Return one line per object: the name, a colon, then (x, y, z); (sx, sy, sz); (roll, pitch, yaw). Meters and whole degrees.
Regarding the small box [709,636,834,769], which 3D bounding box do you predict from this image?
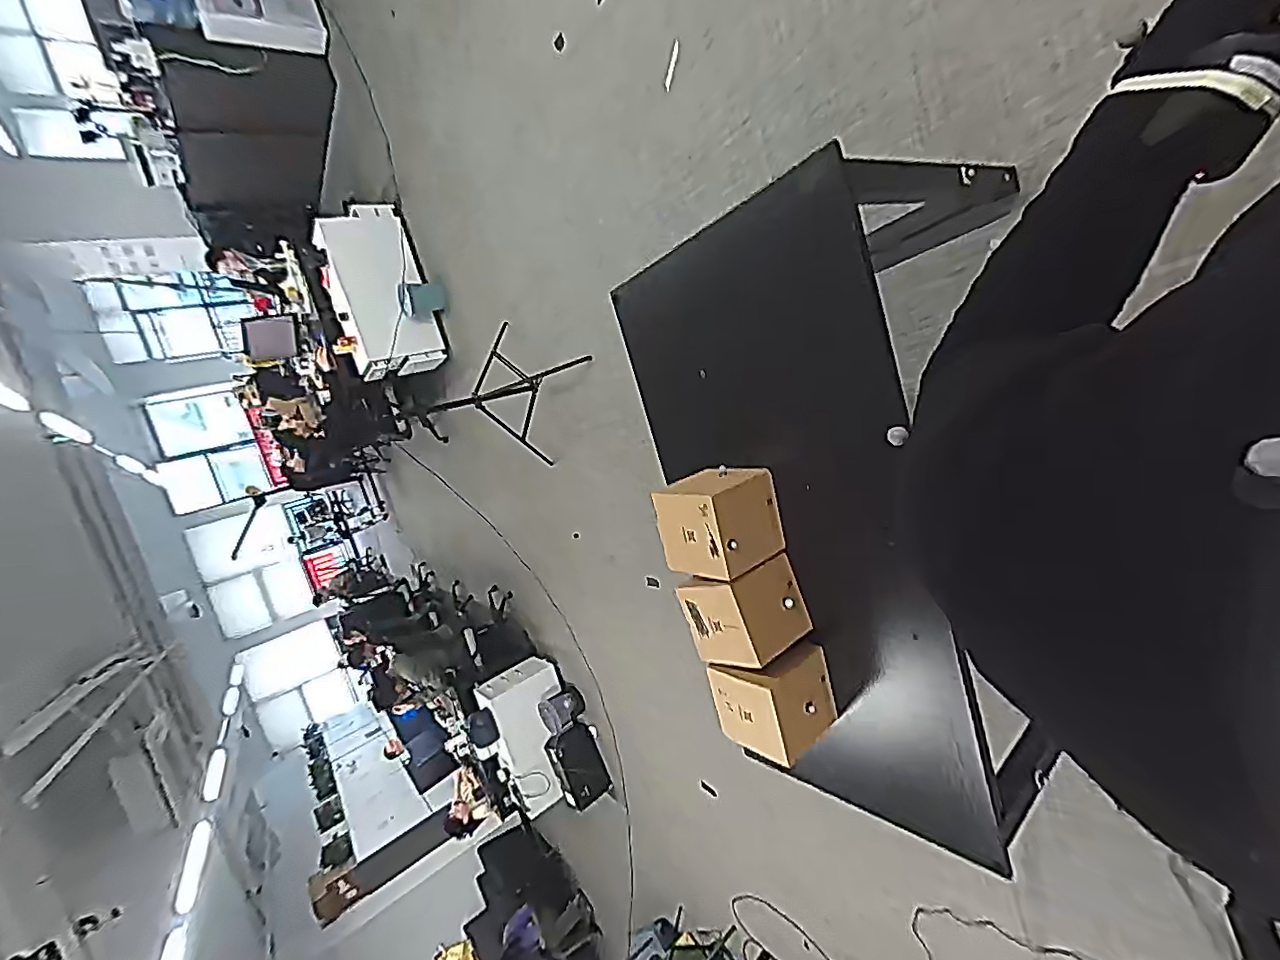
small box: (0.273, 0.438, 1.099); (0.179, 0.176, 0.168); (-3, 104, 55)
